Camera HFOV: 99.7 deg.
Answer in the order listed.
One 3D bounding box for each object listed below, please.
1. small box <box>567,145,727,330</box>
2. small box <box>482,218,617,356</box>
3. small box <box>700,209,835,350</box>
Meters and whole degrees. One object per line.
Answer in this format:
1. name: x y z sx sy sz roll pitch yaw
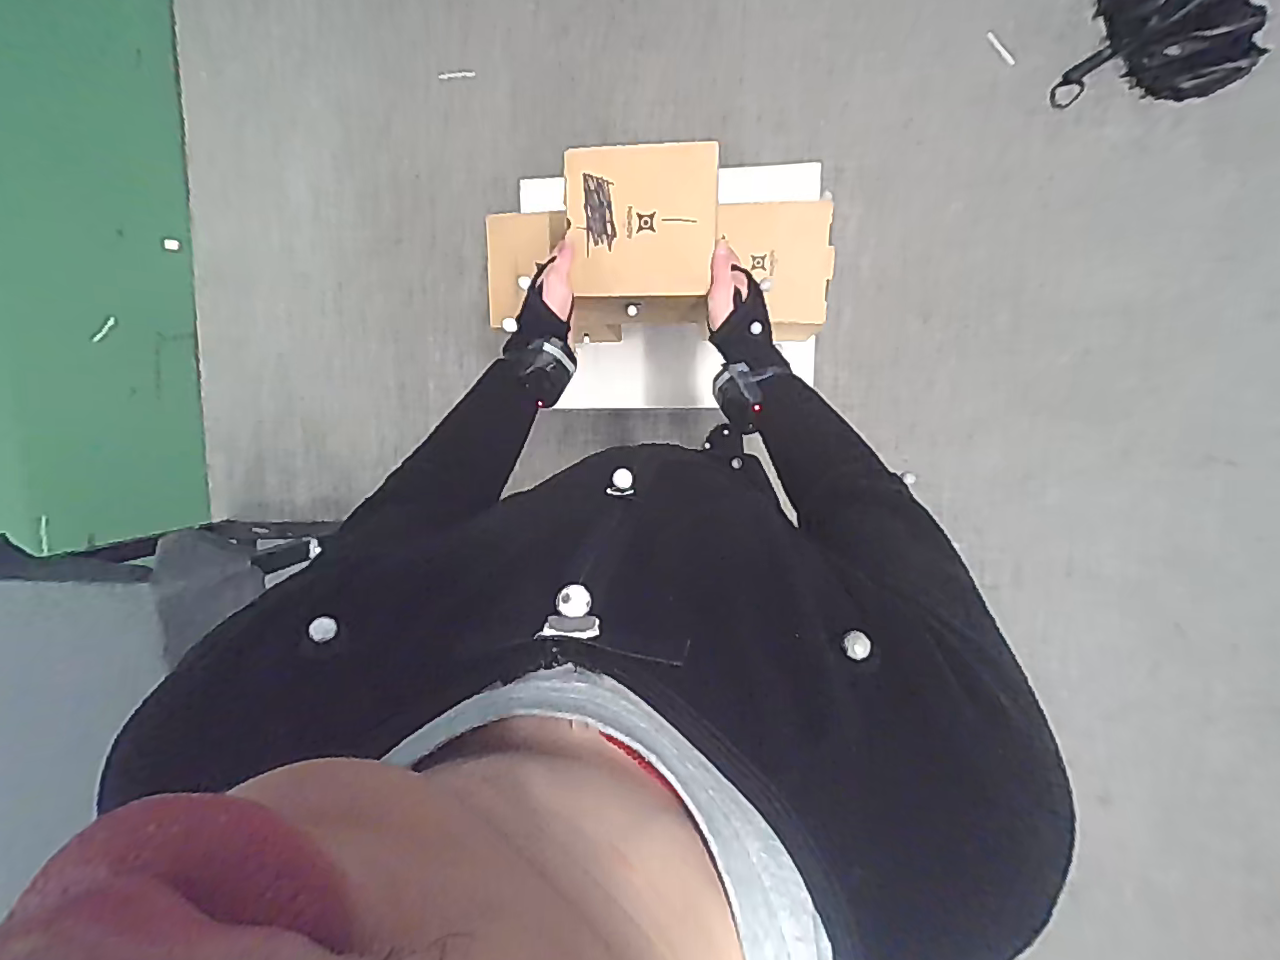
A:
1. small box: 0.015 -0.284 0.671 0.179 0.176 0.168 0 95 5
2. small box: -0.130 -0.292 0.849 0.179 0.176 0.168 -2 93 5
3. small box: 0.182 -0.293 0.821 0.179 0.176 0.168 1 95 6
